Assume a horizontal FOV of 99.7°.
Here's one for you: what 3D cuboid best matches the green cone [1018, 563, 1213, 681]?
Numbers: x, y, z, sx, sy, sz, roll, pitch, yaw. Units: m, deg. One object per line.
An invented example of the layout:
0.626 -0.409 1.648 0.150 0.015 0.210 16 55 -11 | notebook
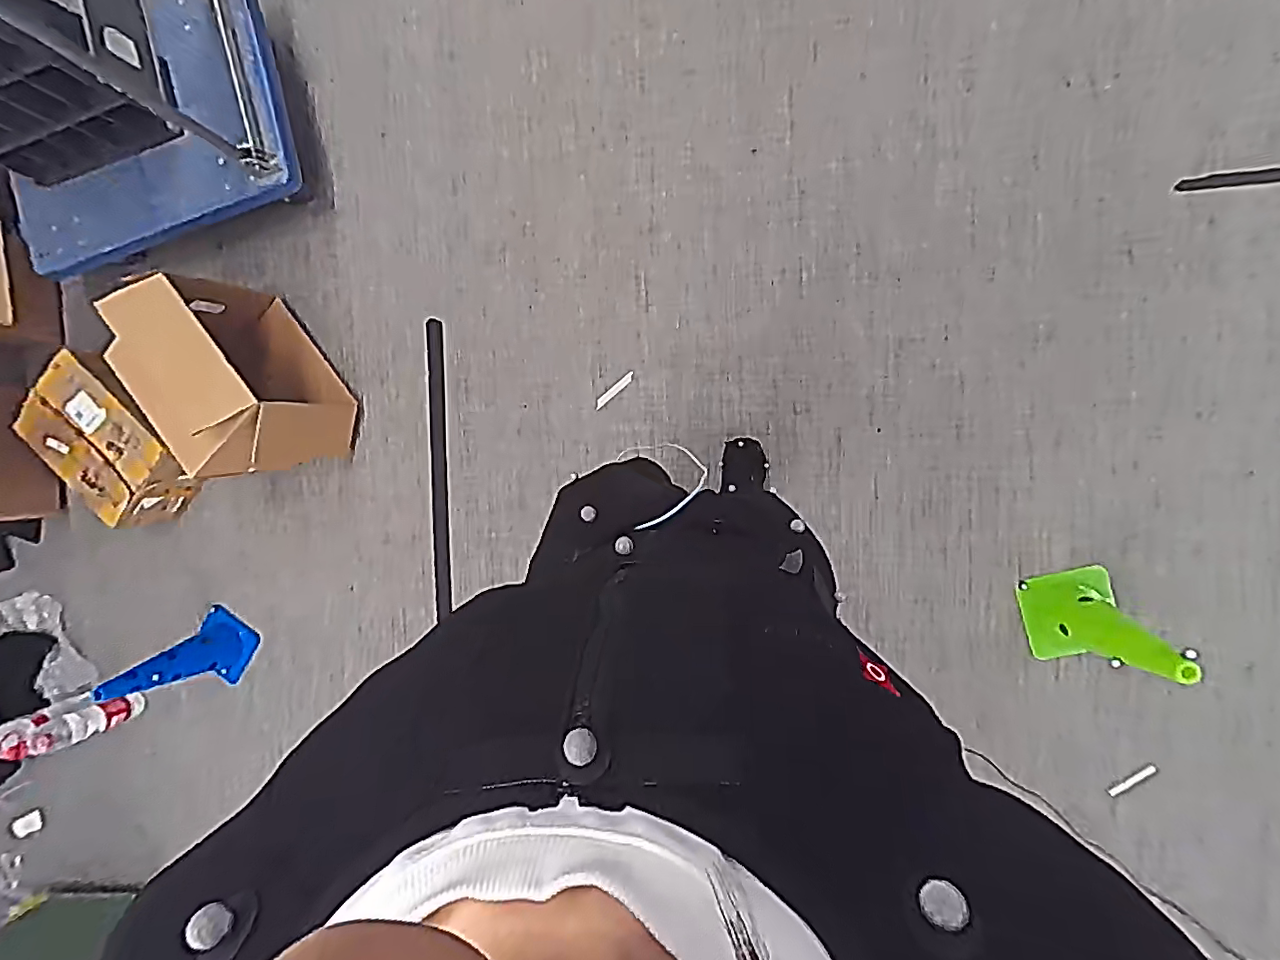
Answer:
0.996 0.323 1.114 0.202 0.368 0.200 -16 92 10 | green cone
